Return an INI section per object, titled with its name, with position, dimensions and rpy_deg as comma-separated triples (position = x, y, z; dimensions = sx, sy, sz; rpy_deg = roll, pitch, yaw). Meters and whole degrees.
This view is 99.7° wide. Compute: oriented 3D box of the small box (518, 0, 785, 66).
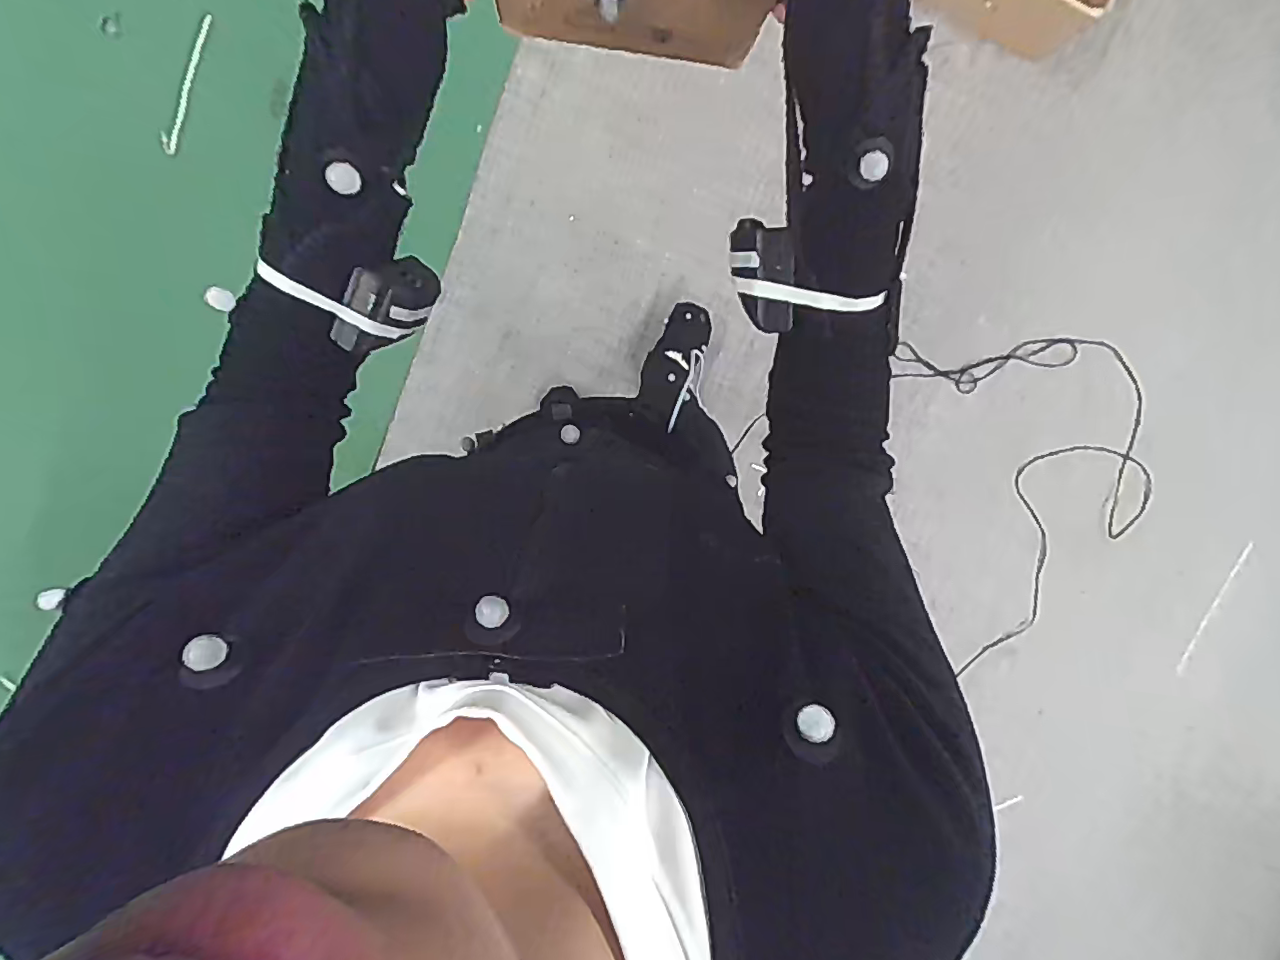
[small box]
position = 0.013, -0.358, 0.269
dimensions = 0.168, 0.176, 0.179
rpy_deg = 4, 104, -8
